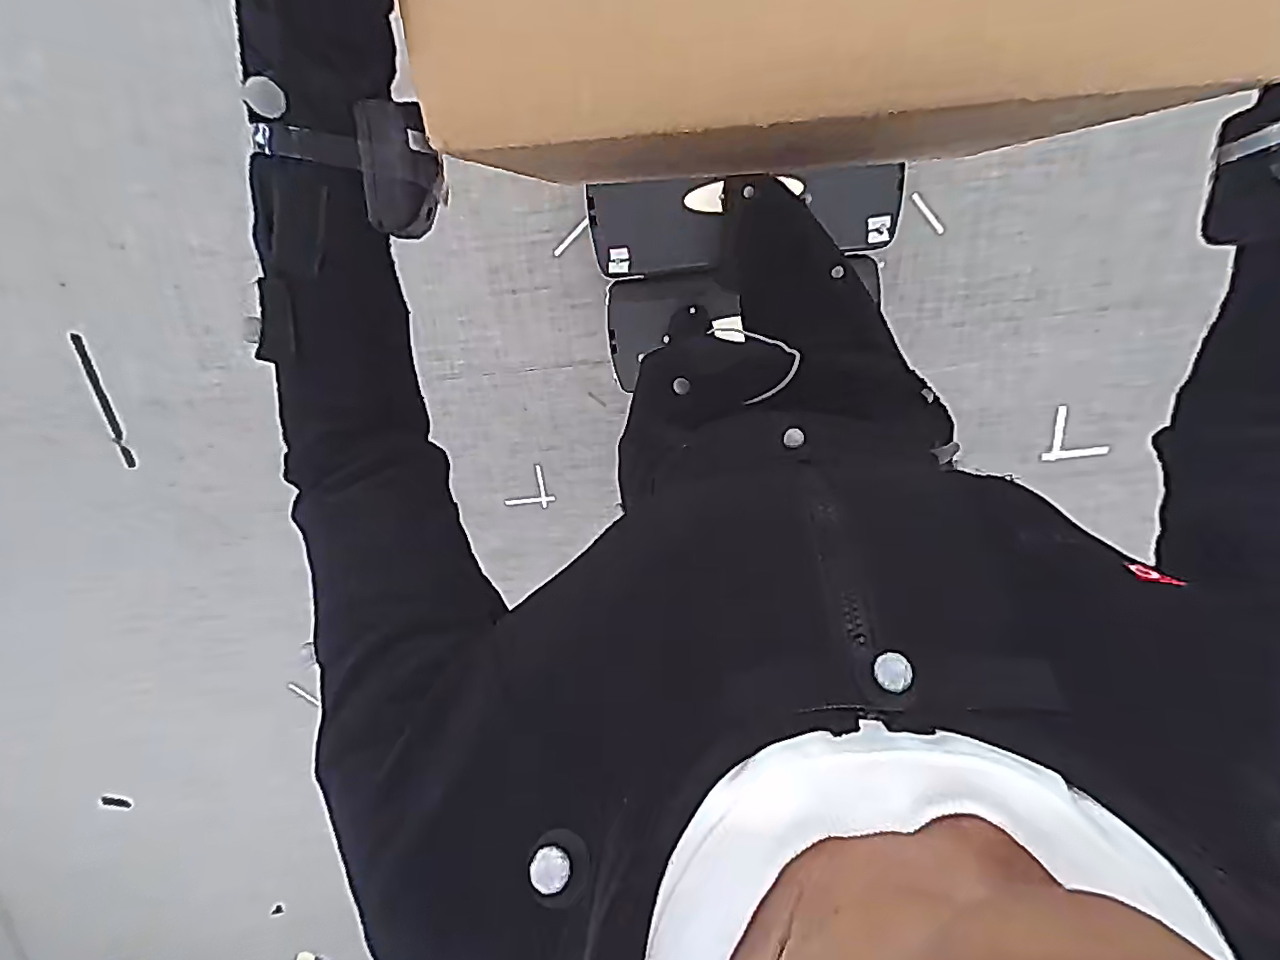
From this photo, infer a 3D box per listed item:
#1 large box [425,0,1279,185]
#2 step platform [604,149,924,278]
[{"bbox_3d":[0.094,-0.387,0.338,0.408,0.320,0.320,-2,116,5],"label":"large box"},{"bbox_3d":[0.262,-0.645,1.224,0.684,0.204,0.286,-6,112,4],"label":"step platform"}]
